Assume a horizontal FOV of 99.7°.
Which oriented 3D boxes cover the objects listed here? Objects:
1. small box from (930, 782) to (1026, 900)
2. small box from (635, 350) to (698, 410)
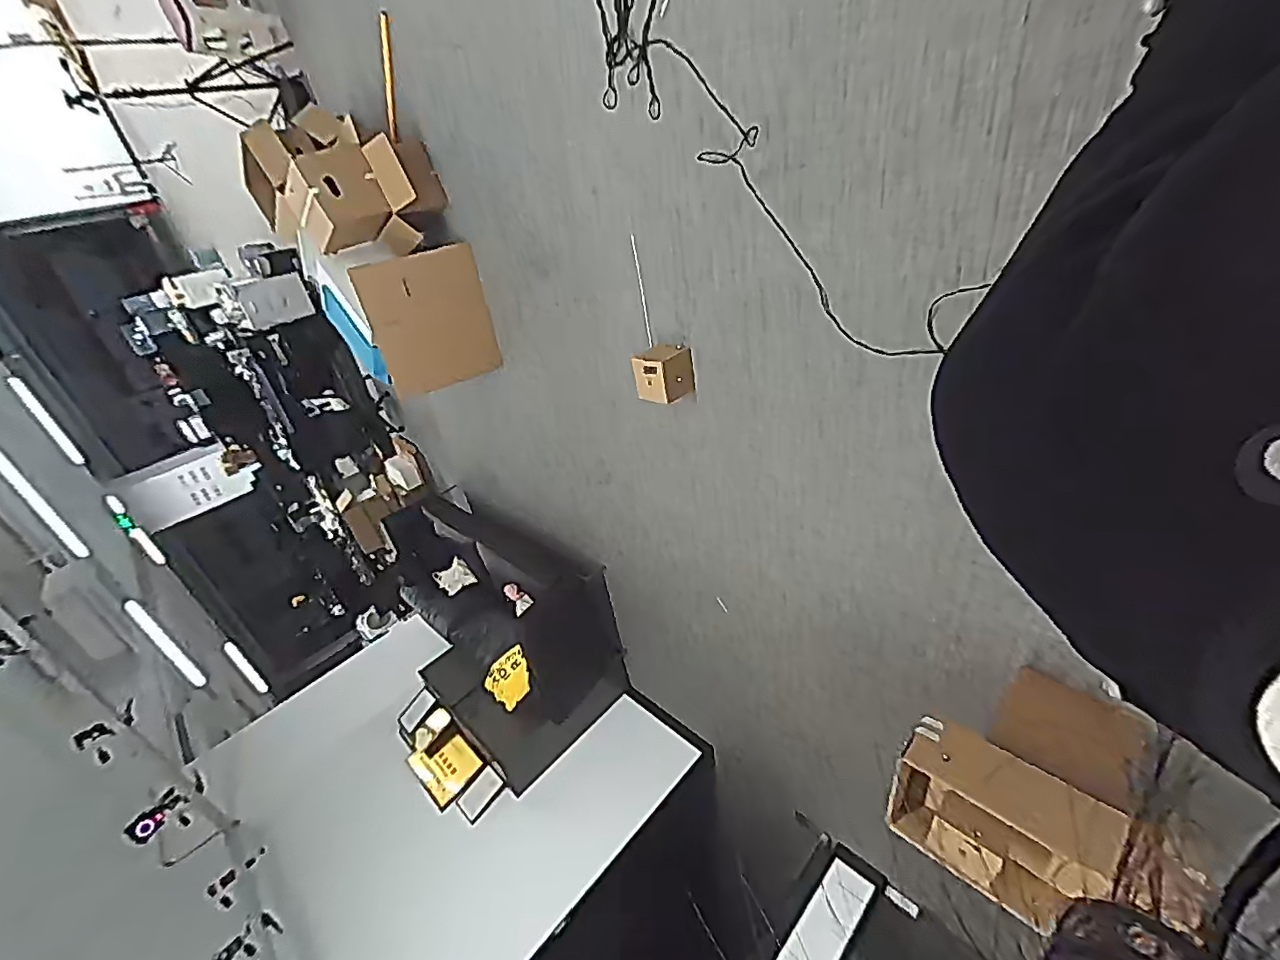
[{"bbox_3d":[0.921,0.976,1.471,0.168,0.176,0.179,22,134,38],"label":"small box"},{"bbox_3d":[0.109,-0.399,2.125,0.168,0.176,0.179,21,134,42],"label":"small box"}]
